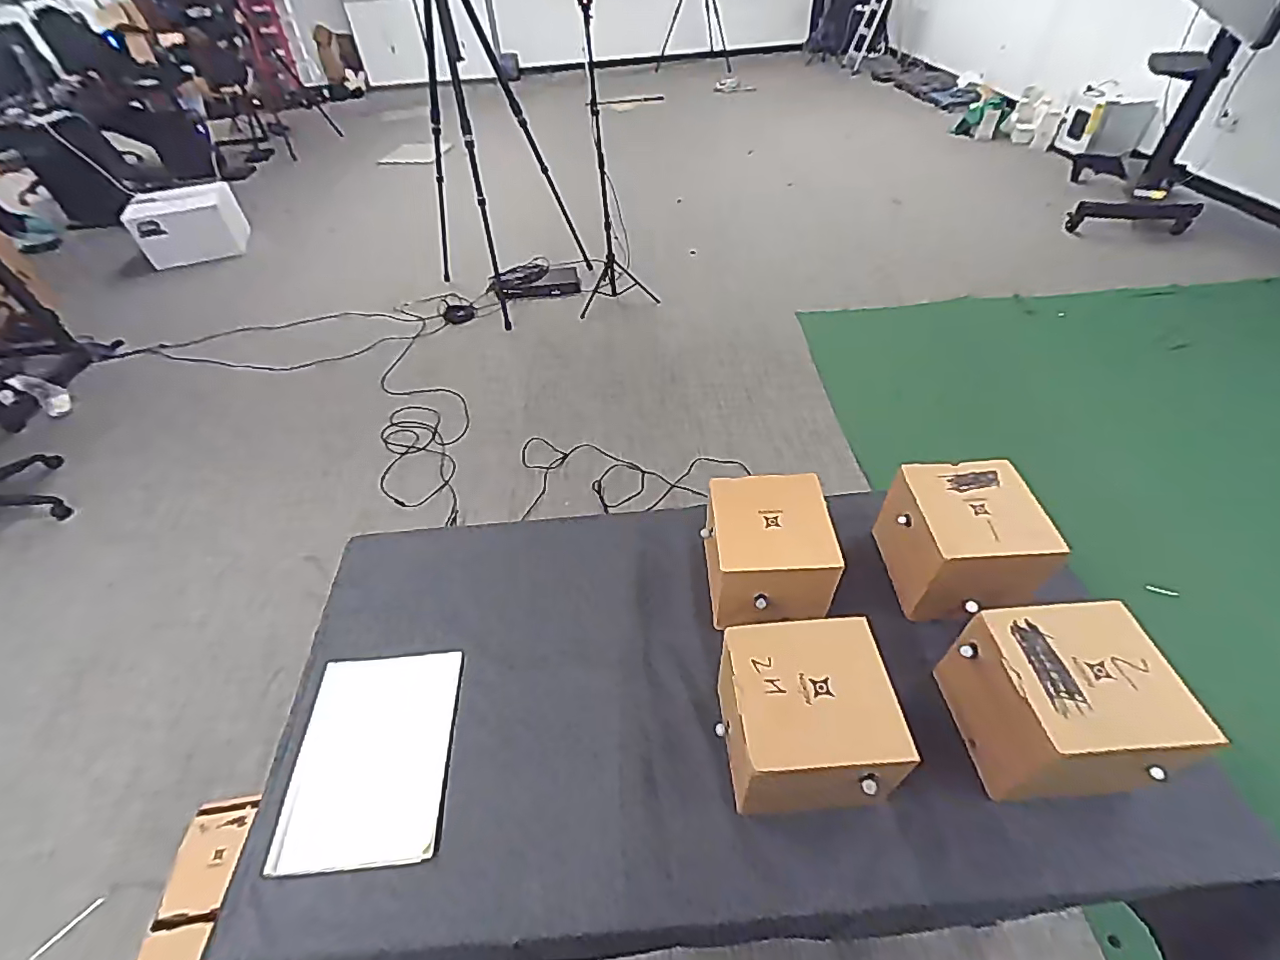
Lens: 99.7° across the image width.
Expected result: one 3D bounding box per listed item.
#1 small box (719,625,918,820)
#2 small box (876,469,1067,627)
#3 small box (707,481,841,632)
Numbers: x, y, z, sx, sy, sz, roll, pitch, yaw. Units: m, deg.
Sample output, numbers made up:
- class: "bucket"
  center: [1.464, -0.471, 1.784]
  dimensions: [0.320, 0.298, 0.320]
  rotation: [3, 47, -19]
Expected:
- class: "small box"
  center: [0.197, 0.296, 0.656]
  dimensions: [0.179, 0.176, 0.168]
  rotation: [-4, 44, 1]
- class: "small box"
  center: [0.481, 0.104, 0.823]
  dimensions: [0.168, 0.176, 0.179]
  rotation: [-3, 46, 2]
- class: "small box"
  center: [0.192, 0.123, 0.830]
  dimensions: [0.168, 0.176, 0.179]
  rotation: [-3, 45, 2]
